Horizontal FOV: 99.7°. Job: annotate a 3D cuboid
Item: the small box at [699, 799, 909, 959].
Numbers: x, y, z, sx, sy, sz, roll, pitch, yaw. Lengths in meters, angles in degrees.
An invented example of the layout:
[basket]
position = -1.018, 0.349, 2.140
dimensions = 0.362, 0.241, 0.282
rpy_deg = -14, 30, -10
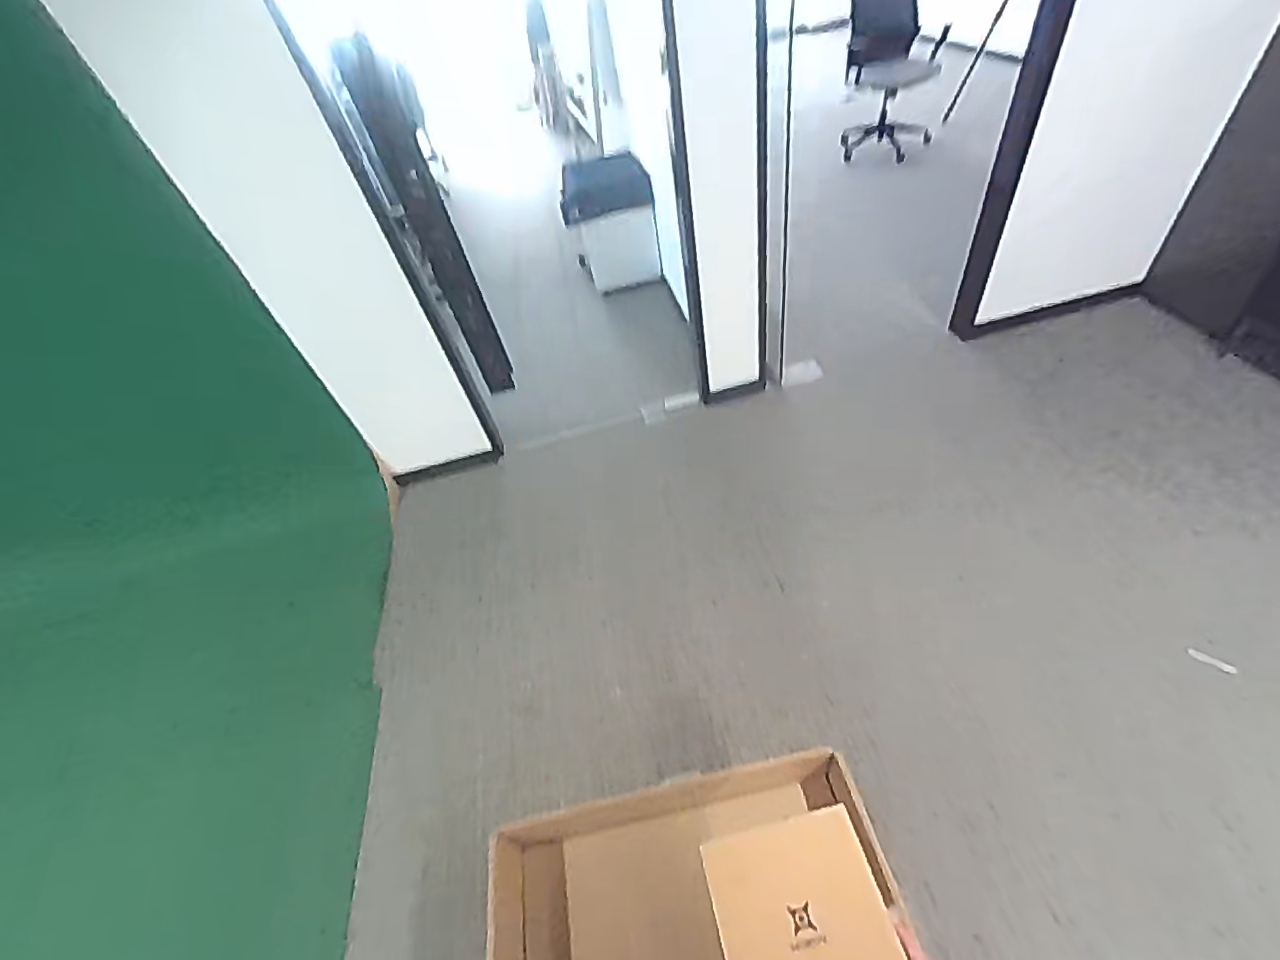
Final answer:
[small box]
position = 0.169, 0.474, 0.575
dimensions = 0.168, 0.176, 0.179
rpy_deg = -16, 47, 0
